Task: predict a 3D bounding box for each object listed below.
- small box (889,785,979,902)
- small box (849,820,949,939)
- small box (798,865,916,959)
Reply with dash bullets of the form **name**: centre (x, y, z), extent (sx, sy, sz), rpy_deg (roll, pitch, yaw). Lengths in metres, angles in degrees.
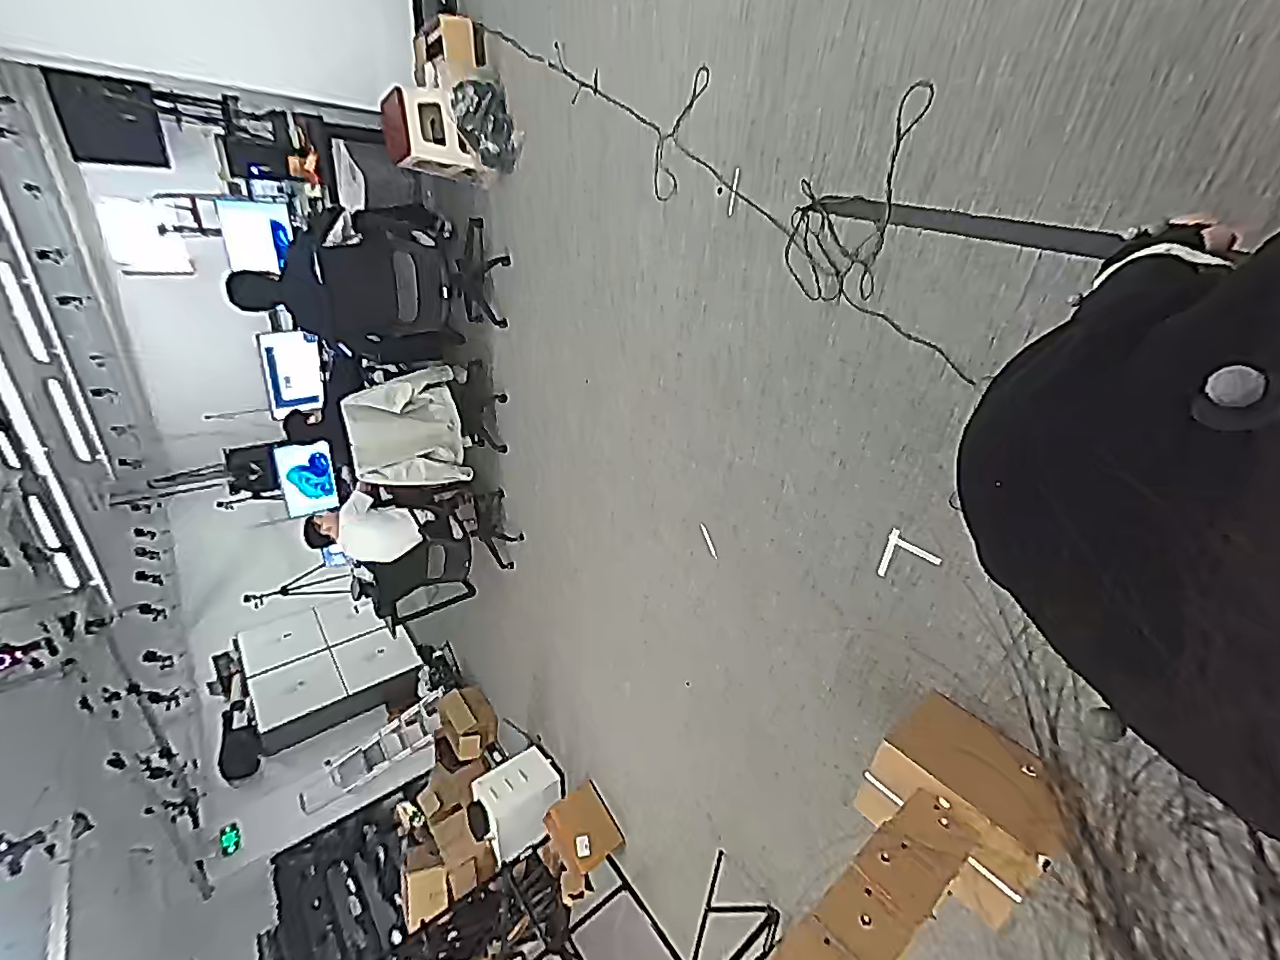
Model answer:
- **small box**: centre (0.726, 0.931, 1.376), extent (0.168, 0.176, 0.179), rpy_deg (32, 126, 41)
- **small box**: centre (0.599, 0.961, 1.280), extent (0.168, 0.176, 0.179), rpy_deg (31, 127, 43)
- **small box**: centre (0.474, 1.004, 1.181), extent (0.168, 0.176, 0.179), rpy_deg (27, 123, 46)
